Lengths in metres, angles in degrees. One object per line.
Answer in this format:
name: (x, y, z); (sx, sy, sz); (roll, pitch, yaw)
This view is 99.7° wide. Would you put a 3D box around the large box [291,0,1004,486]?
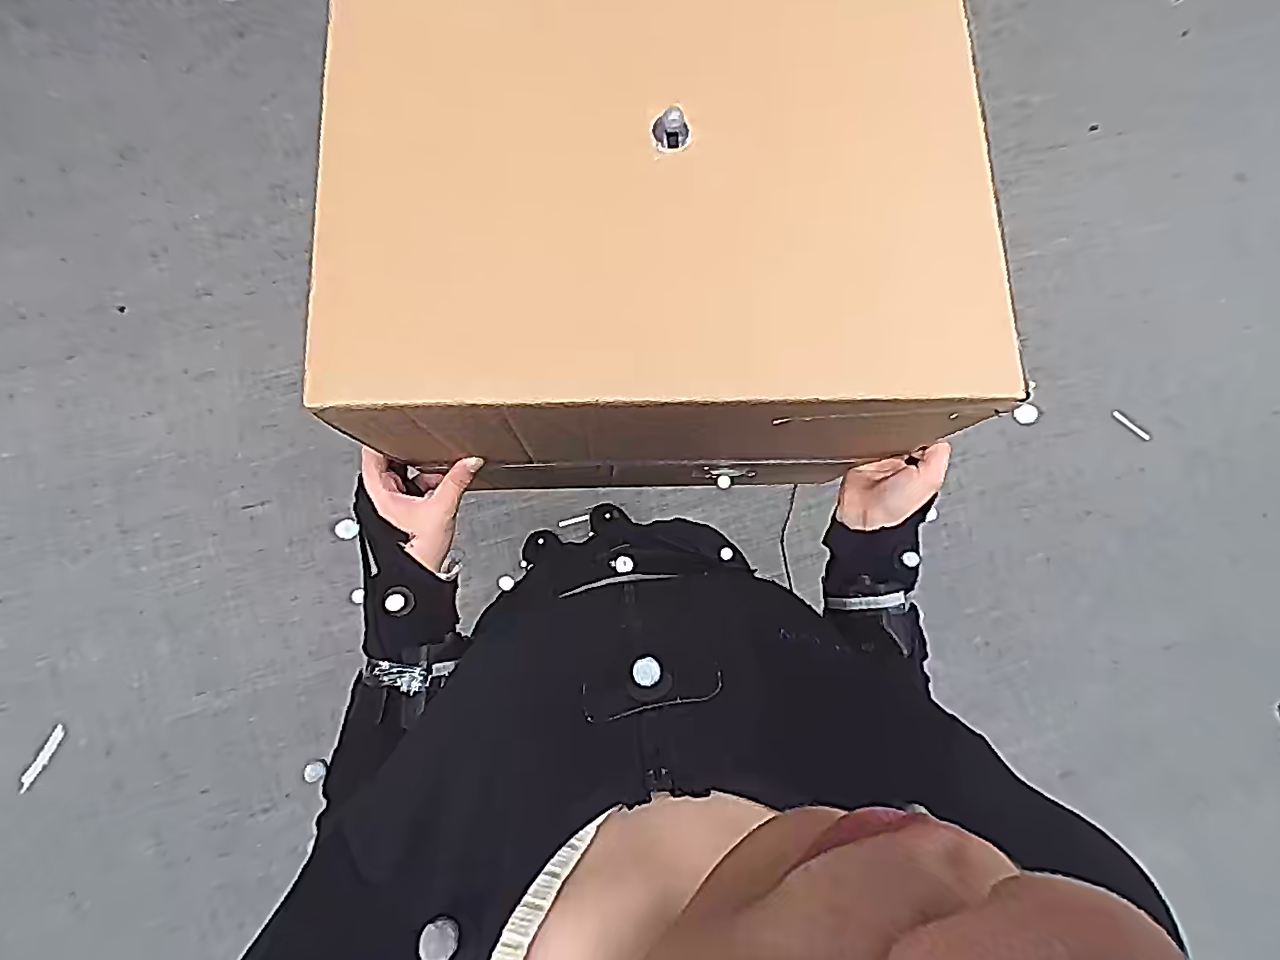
large box: (-0.006, -0.176, 0.466); (0.408, 0.320, 0.320); (-3, 83, -3)
